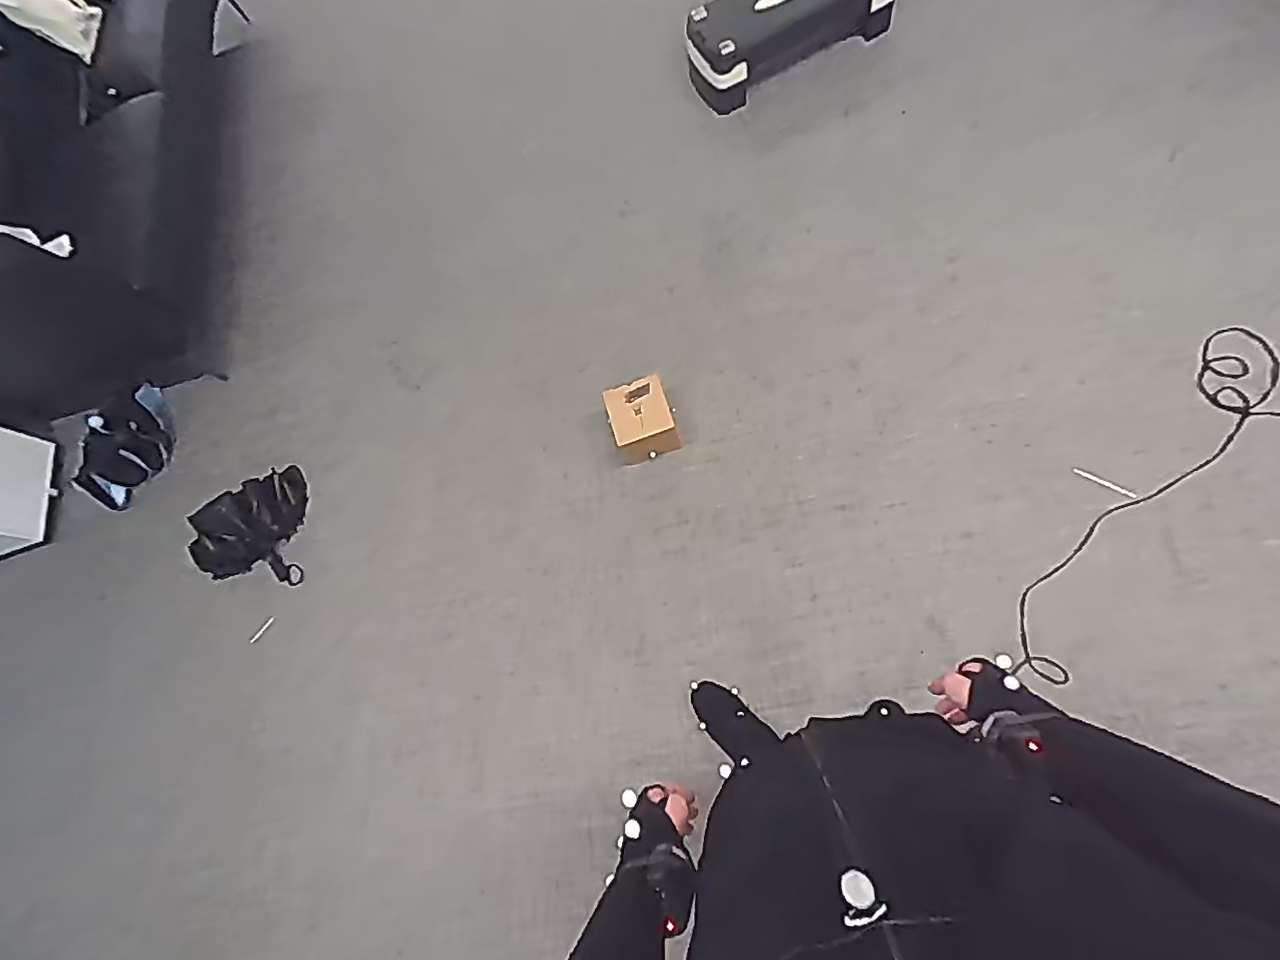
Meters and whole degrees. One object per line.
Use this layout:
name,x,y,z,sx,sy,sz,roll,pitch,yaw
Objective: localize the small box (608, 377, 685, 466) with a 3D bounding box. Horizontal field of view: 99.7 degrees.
small box,0.022,-0.163,1.558,0.168,0.176,0.179,-19,70,7
